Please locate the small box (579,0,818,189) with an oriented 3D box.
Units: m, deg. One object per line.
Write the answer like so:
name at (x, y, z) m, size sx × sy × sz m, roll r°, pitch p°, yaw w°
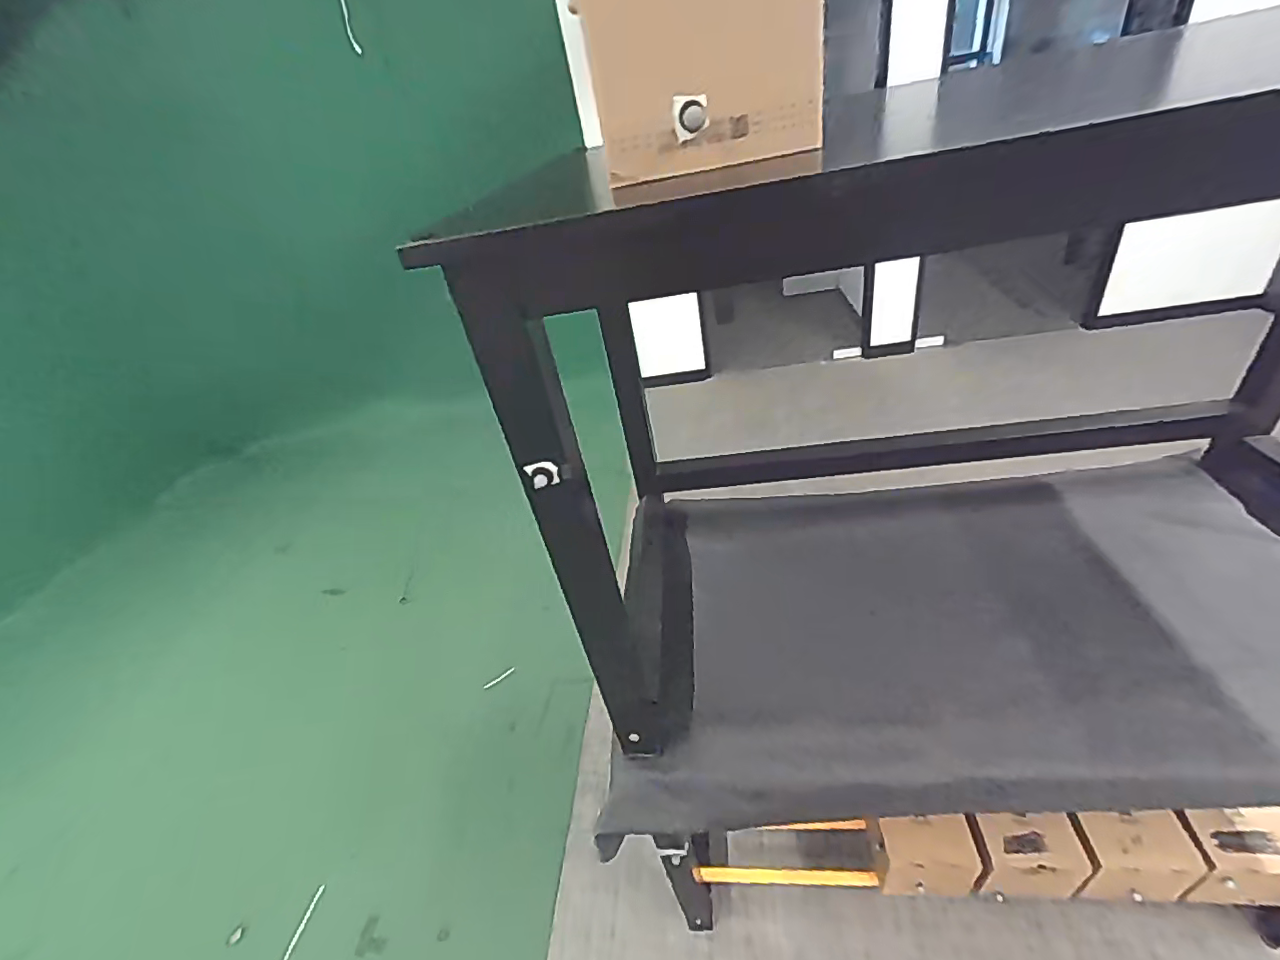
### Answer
small box at (0.045, -0.356, 0.452) m, size 0.168 × 0.176 × 0.179 m, roll -9°, pitch 35°, yaw 7°
